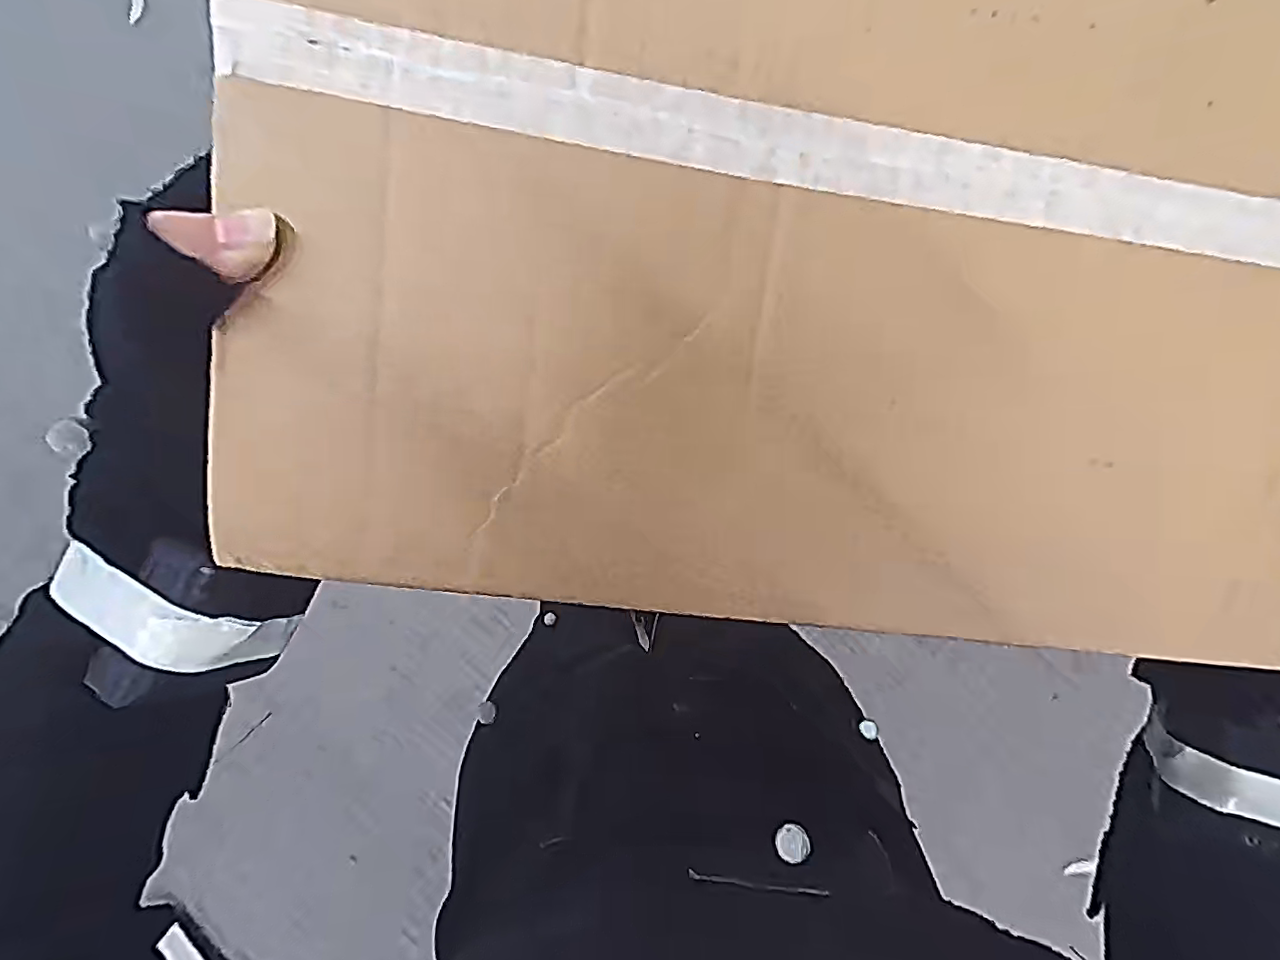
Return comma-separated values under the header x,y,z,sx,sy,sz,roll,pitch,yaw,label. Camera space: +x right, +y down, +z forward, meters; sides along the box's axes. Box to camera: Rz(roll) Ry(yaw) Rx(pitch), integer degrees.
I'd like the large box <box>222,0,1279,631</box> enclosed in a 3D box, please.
x,y,z,sx,sy,sz,roll,pitch,yaw,label
0.058,-0.126,0.332,0.408,0.320,0.320,5,99,-6,large box
